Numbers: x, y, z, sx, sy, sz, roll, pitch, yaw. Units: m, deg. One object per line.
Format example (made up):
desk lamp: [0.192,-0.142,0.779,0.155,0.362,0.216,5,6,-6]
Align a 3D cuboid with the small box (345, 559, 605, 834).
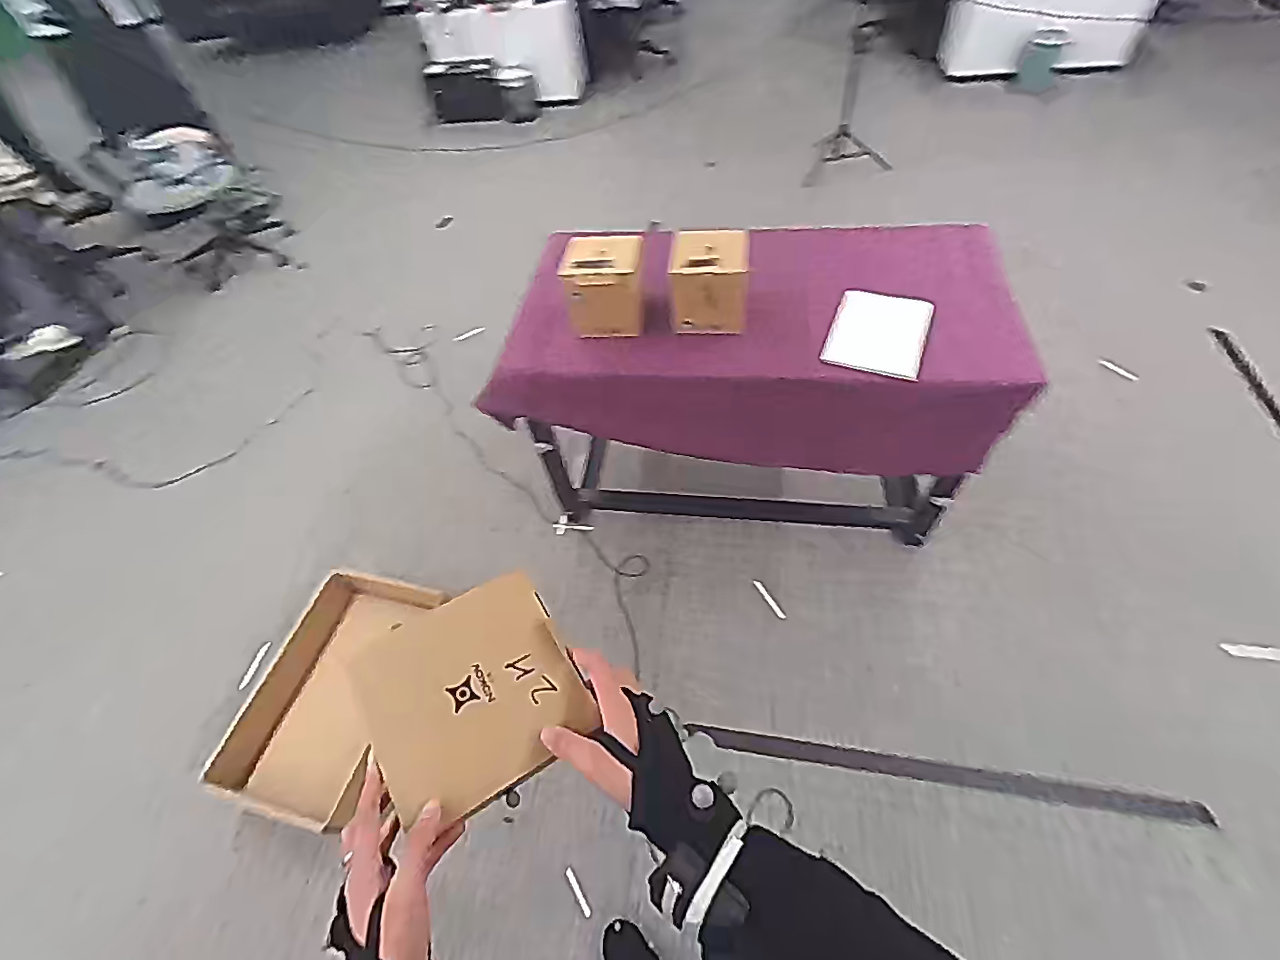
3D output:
small box: [-0.151,0.210,0.534,0.179,0.176,0.168,-25,69,-20]
